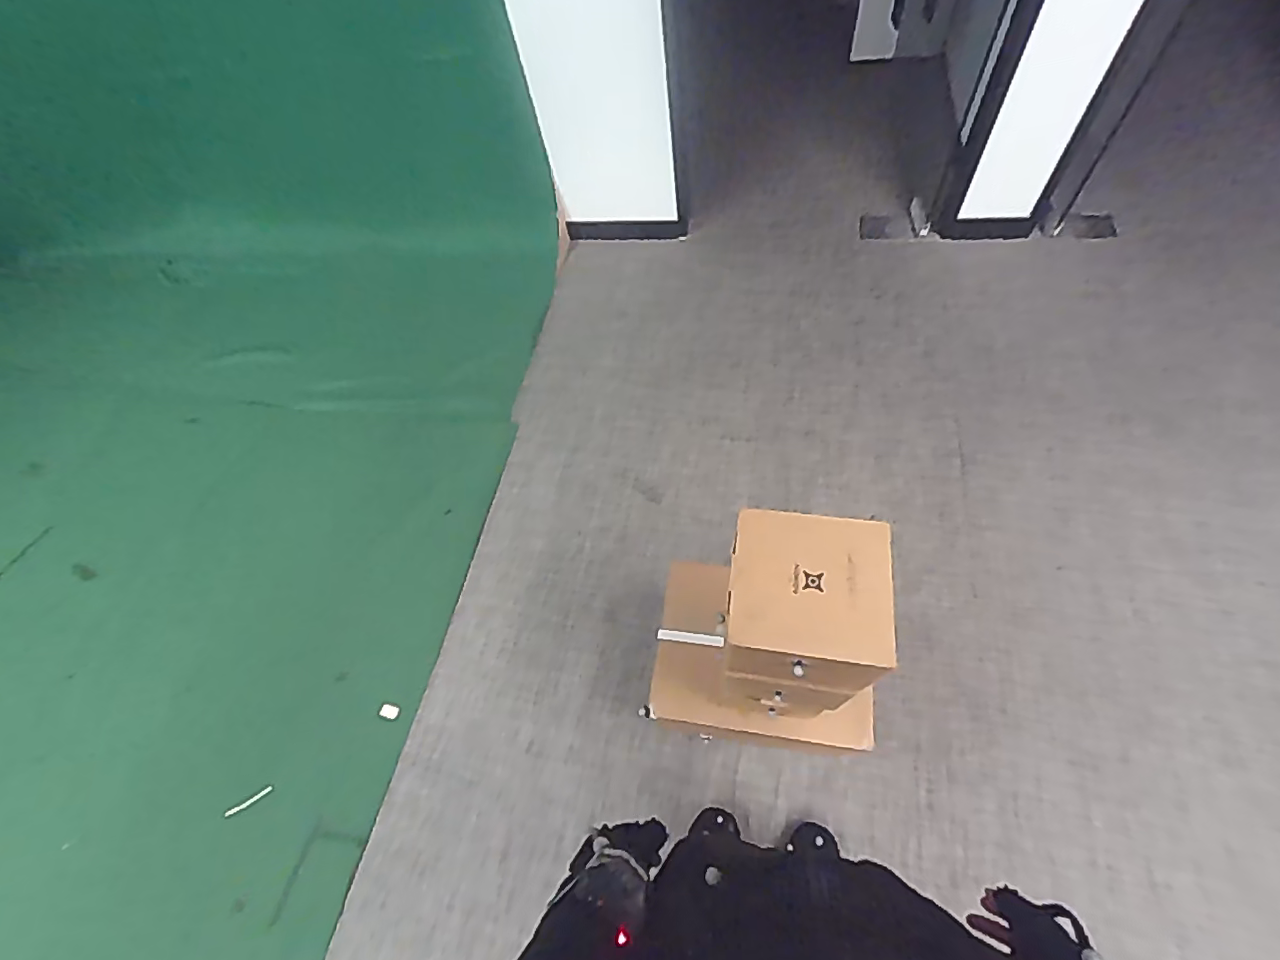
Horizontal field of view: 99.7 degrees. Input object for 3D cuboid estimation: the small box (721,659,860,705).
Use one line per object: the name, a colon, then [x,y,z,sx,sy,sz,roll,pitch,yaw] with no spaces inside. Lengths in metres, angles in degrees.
small box: [0.216,0.236,0.812,0.179,0.176,0.168,3,62,9]

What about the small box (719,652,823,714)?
small box: [0.231,0.309,0.958,0.168,0.176,0.179,3,62,11]

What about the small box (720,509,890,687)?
small box: [0.196,0.152,0.675,0.179,0.176,0.168,6,63,11]
